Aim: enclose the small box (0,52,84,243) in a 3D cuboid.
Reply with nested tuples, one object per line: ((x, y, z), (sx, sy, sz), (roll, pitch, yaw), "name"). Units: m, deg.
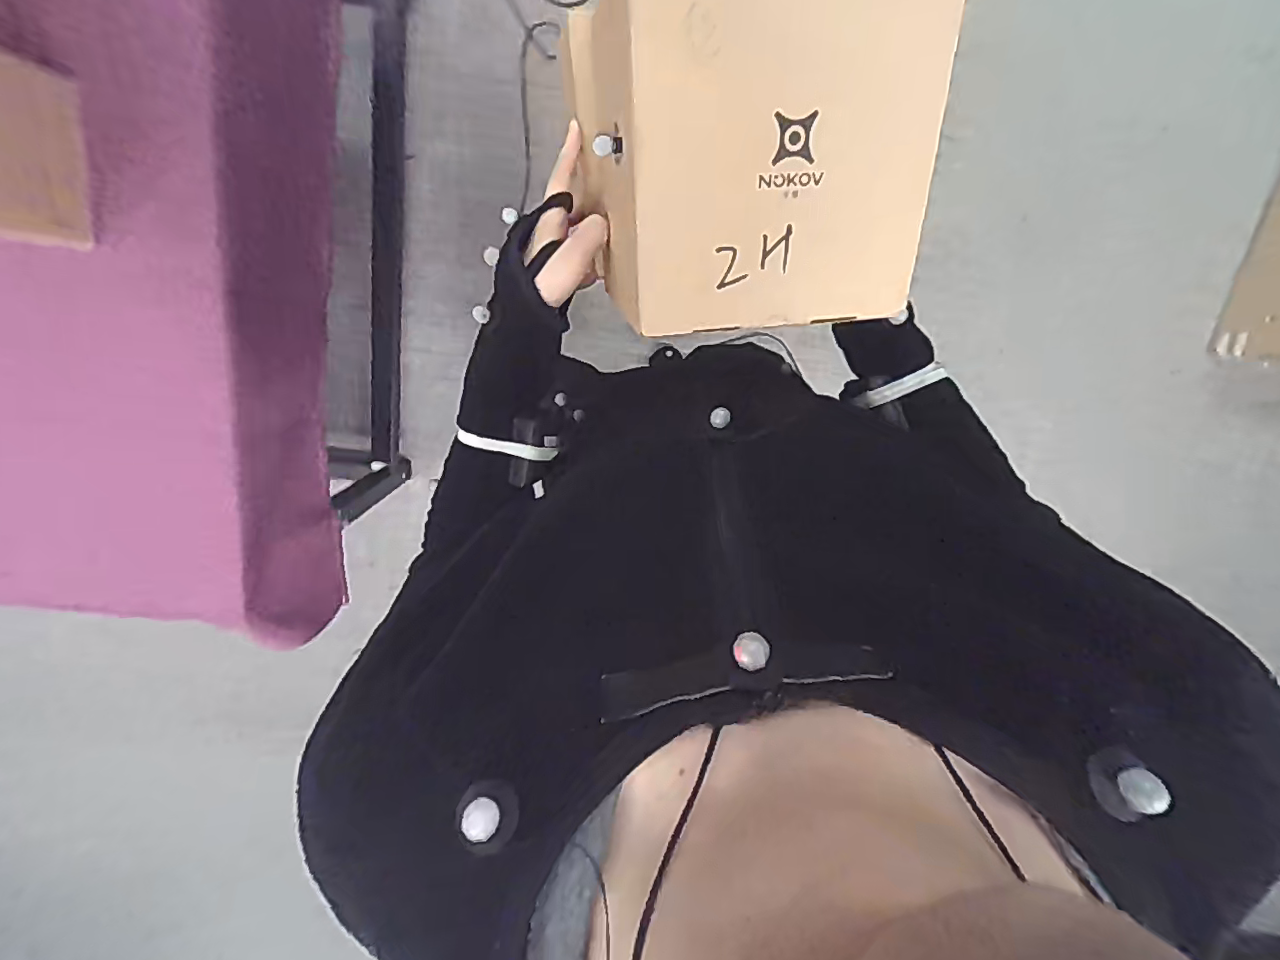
((-0.715, -0.348, 0.536), (0.168, 0.176, 0.179), (7, 104, -4), "small box")

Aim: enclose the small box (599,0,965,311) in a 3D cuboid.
((0.065, -0.214, 0.347), (0.168, 0.176, 0.179), (-5, 118, -8), "small box")
